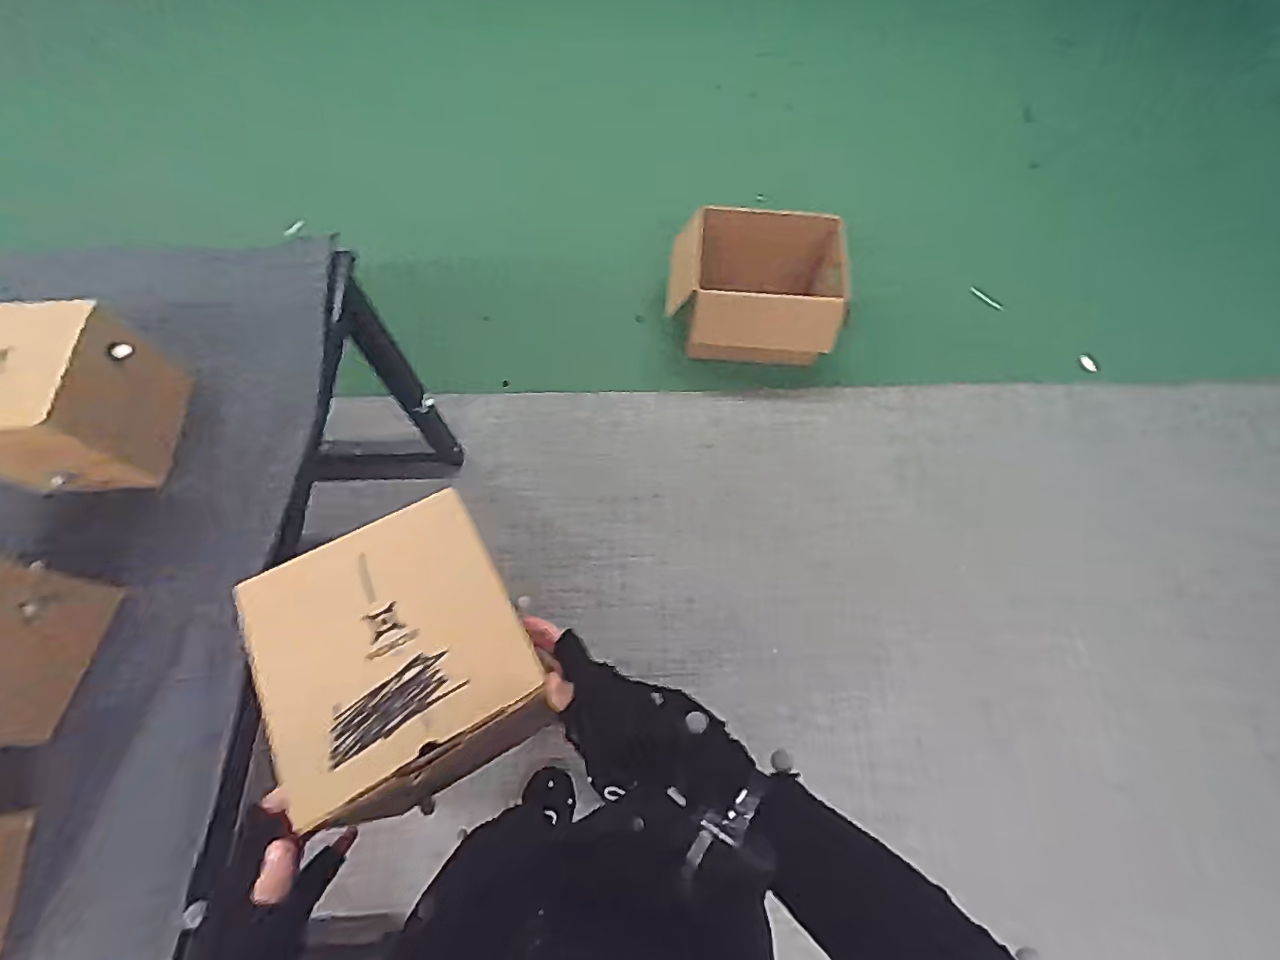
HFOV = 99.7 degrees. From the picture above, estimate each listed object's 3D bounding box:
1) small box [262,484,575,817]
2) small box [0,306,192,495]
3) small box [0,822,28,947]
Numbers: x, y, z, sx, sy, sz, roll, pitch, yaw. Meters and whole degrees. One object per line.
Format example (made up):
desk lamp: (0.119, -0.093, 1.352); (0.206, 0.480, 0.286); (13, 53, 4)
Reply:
small box: (-0.163, 0.140, 0.443); (0.168, 0.176, 0.179); (-25, 63, -16)
small box: (-0.724, -0.095, 0.685); (0.168, 0.176, 0.179); (-4, 66, -3)
small box: (-0.712, 0.412, 0.467); (0.168, 0.176, 0.179); (-6, 67, -5)
